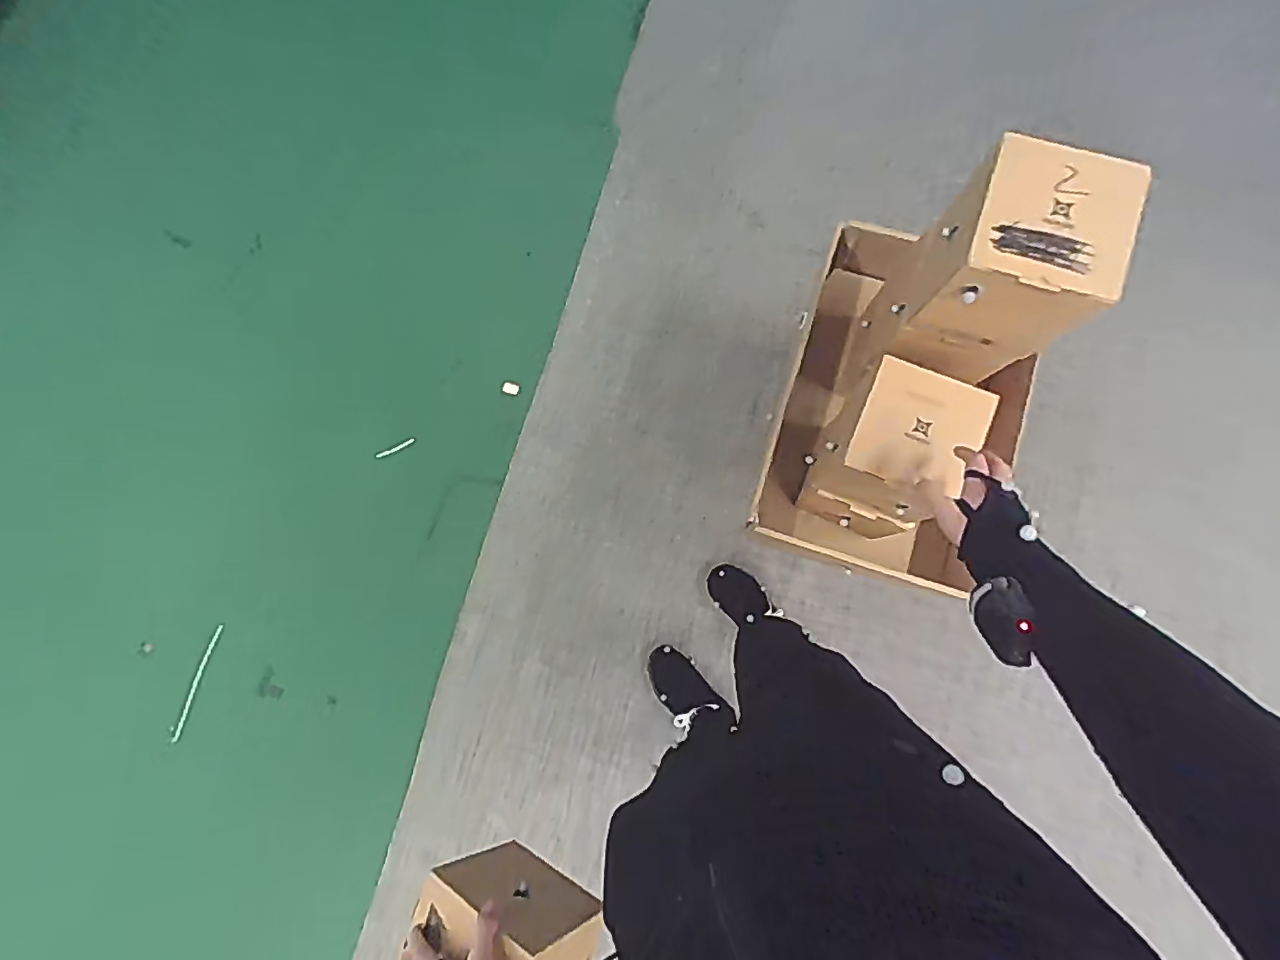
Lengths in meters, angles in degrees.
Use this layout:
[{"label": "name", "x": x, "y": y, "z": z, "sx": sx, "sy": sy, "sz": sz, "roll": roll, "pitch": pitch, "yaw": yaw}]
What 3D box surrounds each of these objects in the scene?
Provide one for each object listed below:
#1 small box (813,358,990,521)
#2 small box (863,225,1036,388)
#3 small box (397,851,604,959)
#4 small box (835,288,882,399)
[{"label": "small box", "x": 0.381, "y": -0.050, "z": 0.824, "sx": 0.168, "sy": 0.176, "sz": 0.179, "roll": 24, "pitch": 81, "yaw": 6}, {"label": "small box", "x": 0.477, "y": -0.261, "z": 0.860, "sx": 0.168, "sy": 0.176, "sz": 0.179, "roll": 17, "pitch": 84, "yaw": 5}, {"label": "small box", "x": -0.175, "y": 0.591, "z": 0.665, "sx": 0.179, "sy": 0.176, "sz": 0.168, "roll": 11, "pitch": 76, "yaw": 30}, {"label": "small box", "x": 0.488, "y": -0.239, "z": 1.020, "sx": 0.168, "sy": 0.176, "sz": 0.179, "roll": 18, "pitch": 83, "yaw": 7}]
